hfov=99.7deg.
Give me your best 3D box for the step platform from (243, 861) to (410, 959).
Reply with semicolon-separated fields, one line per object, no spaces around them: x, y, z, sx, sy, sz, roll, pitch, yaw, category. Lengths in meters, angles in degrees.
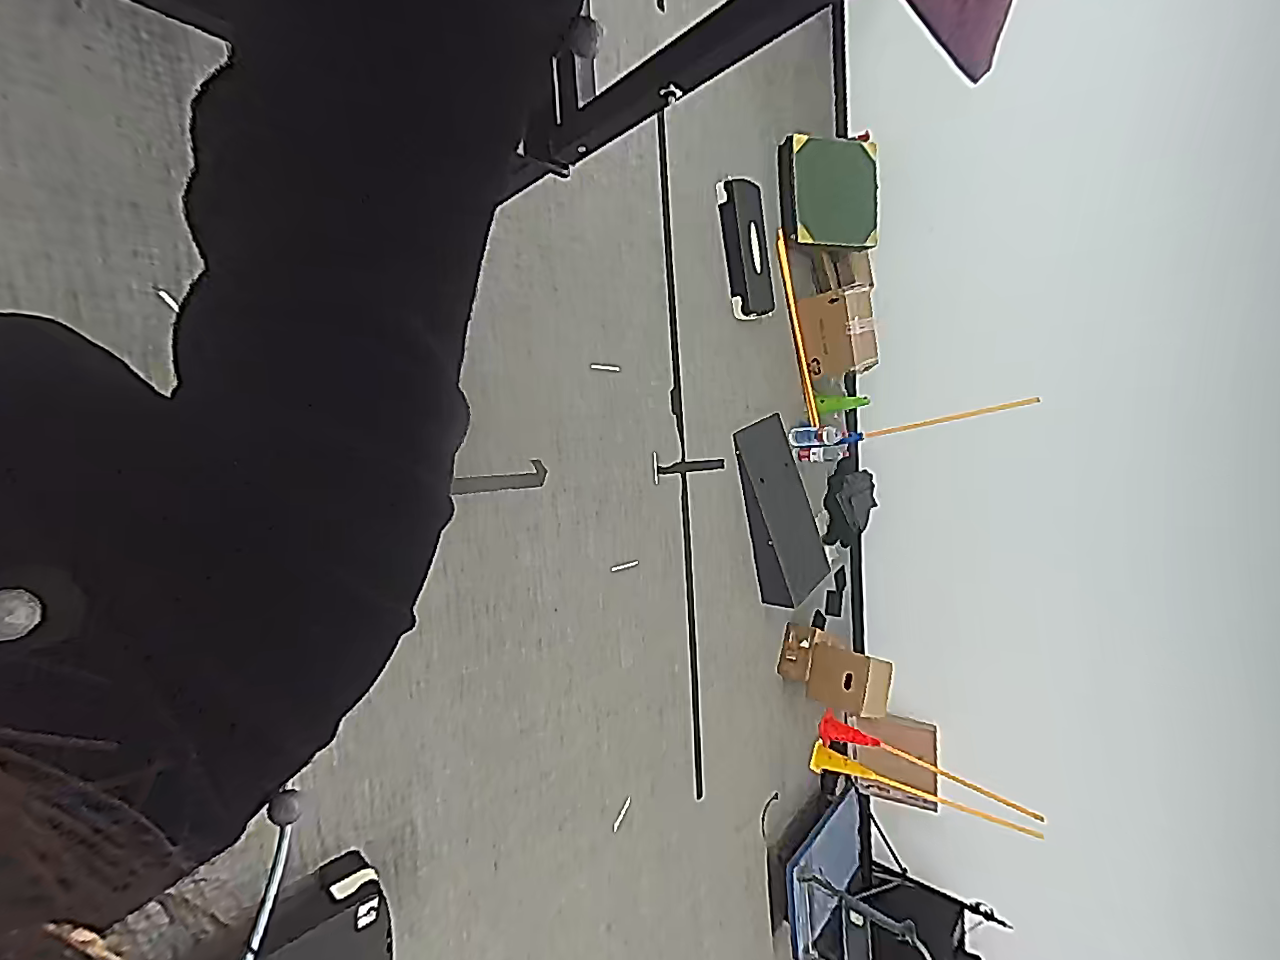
-0.861;1.149;1.165;0.684;0.204;0.286;2;88;-48;step platform
